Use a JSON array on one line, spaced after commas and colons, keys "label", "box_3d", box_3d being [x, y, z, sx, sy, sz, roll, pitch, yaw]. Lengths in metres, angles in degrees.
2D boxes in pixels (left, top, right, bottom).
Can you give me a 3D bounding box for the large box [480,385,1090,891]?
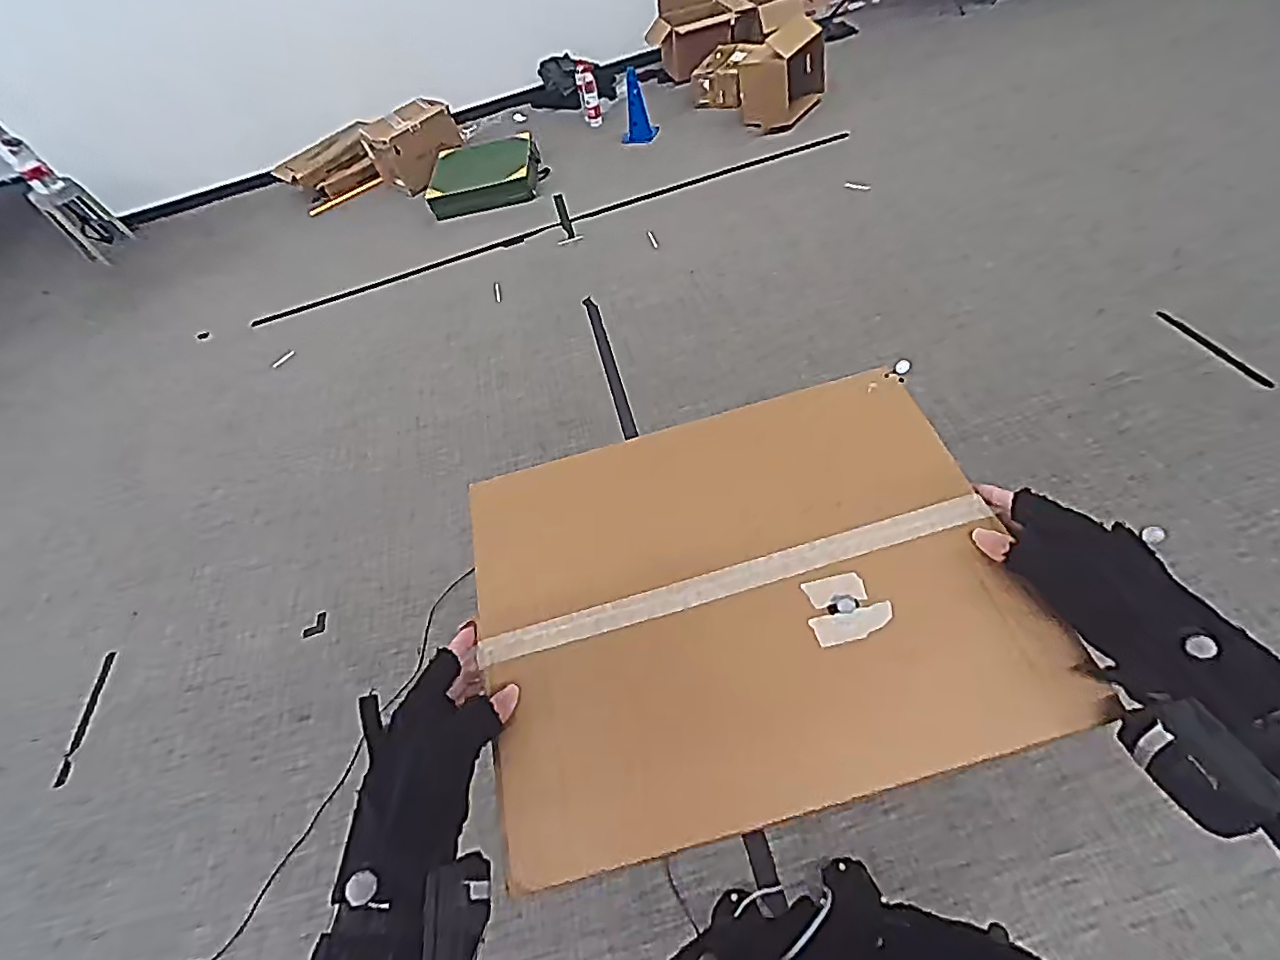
[{"label": "large box", "box_3d": [0.095, 0.165, 0.560, 0.408, 0.320, 0.320, -16, 59, -1]}]
